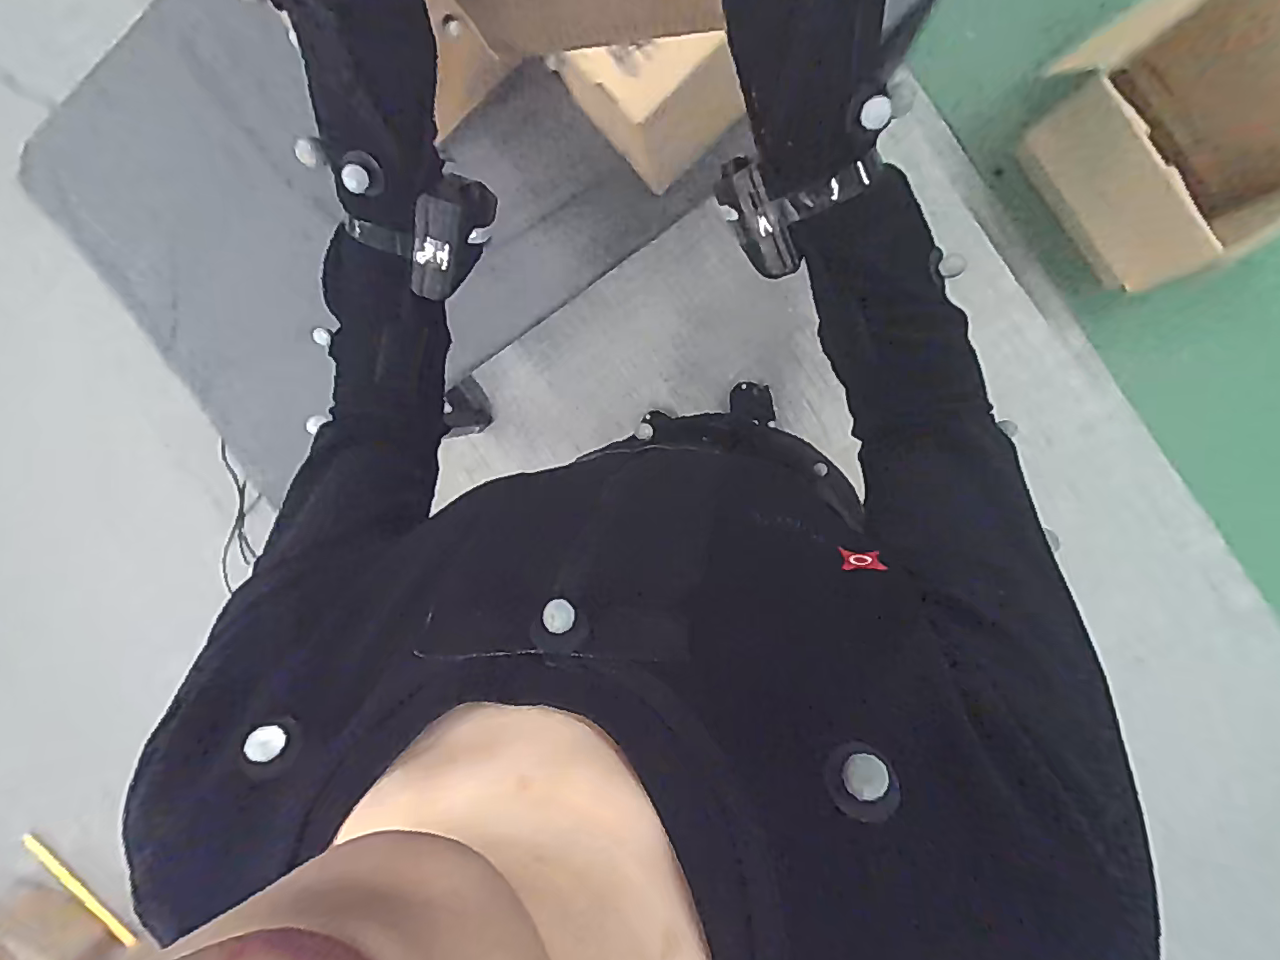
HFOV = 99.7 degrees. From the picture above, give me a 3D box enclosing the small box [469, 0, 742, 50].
[{"bbox_3d":[-0.021,-0.353,0.270,0.179,0.176,0.168,-1,108,8],"label":"small box"}]
